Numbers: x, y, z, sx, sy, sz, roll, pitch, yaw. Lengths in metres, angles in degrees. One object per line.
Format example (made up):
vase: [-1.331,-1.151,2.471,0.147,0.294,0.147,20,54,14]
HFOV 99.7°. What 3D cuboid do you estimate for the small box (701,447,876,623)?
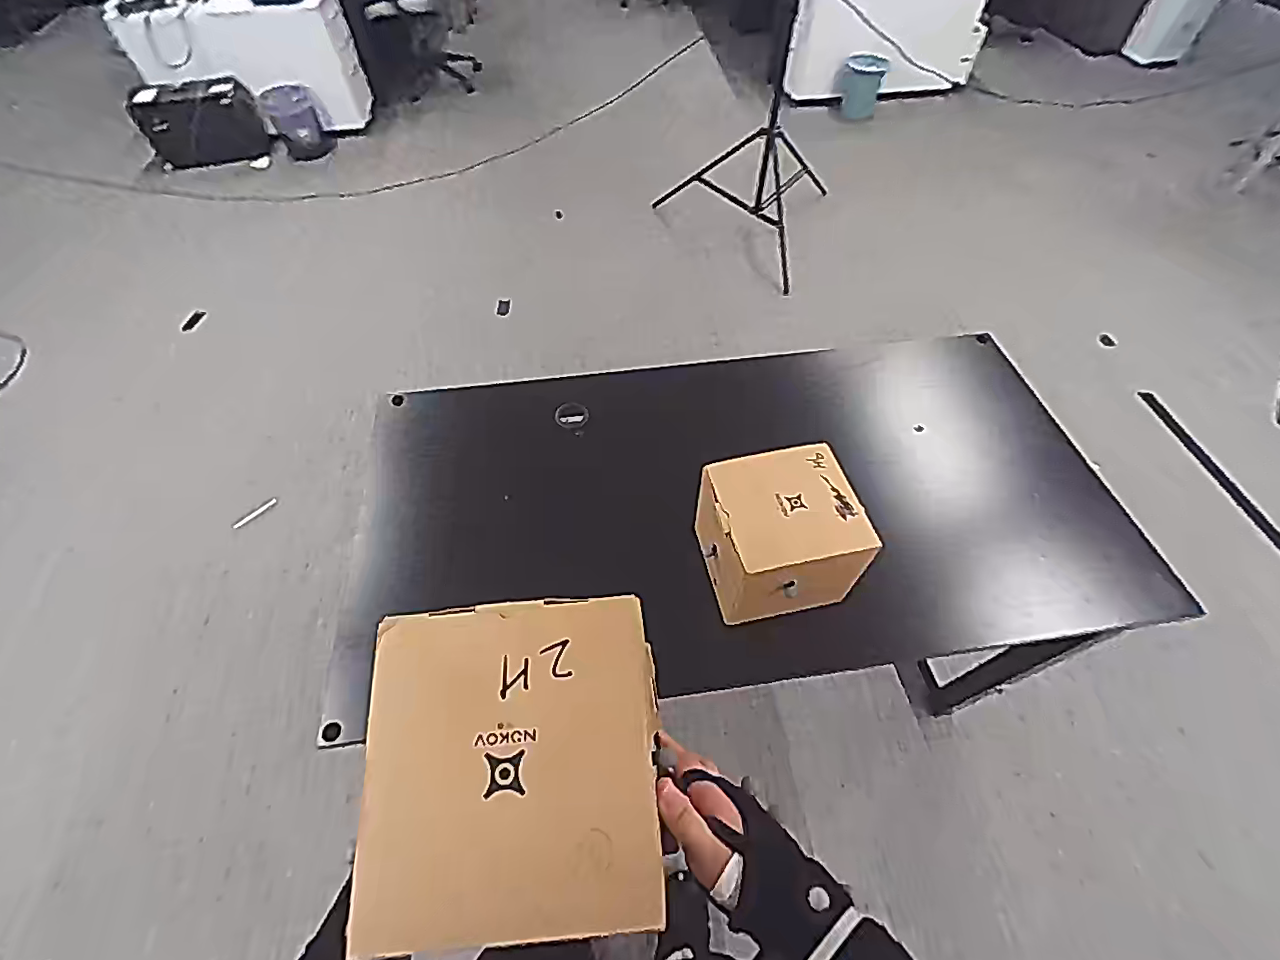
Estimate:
small box: [0.187,0.081,0.749,0.179,0.176,0.168,-11,55,-6]

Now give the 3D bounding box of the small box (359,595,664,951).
small box: [-0.071,0.192,0.389,0.168,0.176,0.179,-5,65,-1]
